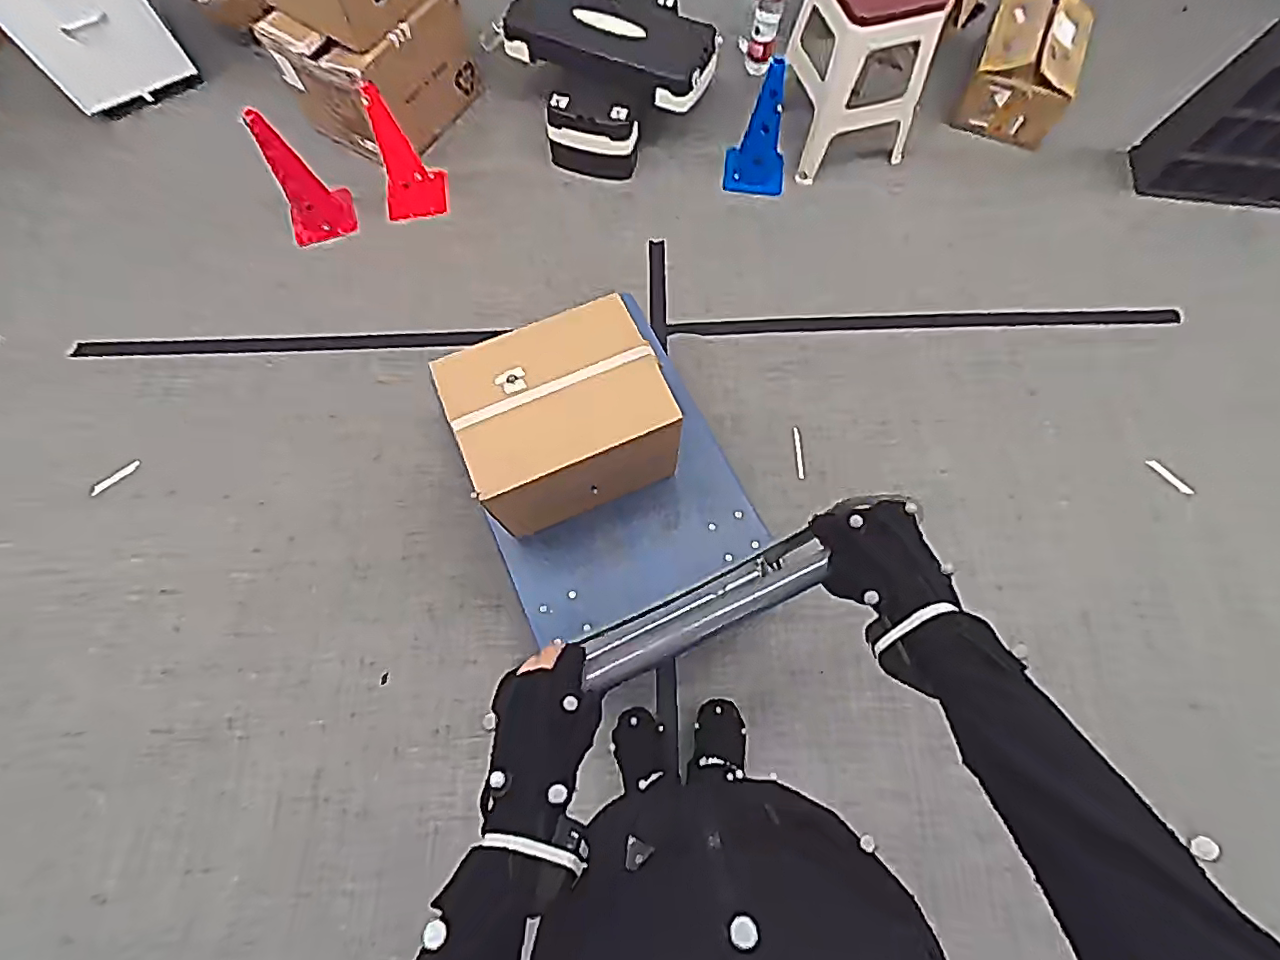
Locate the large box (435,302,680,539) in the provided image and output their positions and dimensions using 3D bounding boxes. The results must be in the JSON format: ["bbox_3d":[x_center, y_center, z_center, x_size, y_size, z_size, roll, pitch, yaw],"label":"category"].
[{"bbox_3d":[-0.161,-0.113,1.187,0.408,0.320,0.320,-24,72,-7],"label":"large box"}]
